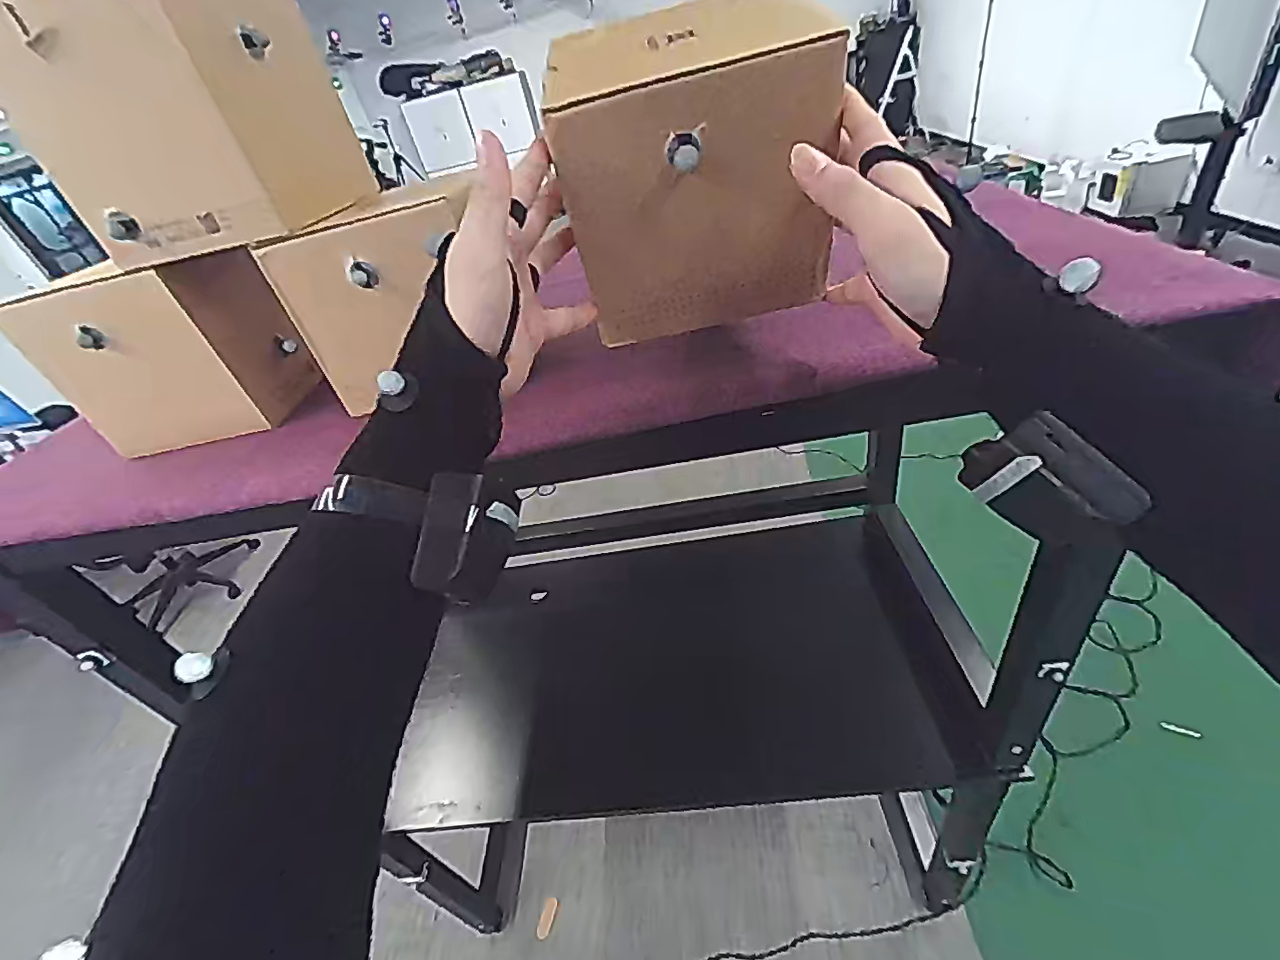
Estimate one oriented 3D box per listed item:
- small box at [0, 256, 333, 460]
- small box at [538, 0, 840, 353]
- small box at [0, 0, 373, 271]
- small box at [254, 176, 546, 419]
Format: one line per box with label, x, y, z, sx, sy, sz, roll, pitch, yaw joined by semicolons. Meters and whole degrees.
small box;-0.474;-0.140;0.580;0.179;0.176;0.168;-11;38;7
small box;0.037;-0.225;0.415;0.179;0.176;0.168;-12;49;7
small box;-0.369;-0.292;0.466;0.168;0.176;0.179;-8;37;9
small box;-0.212;-0.177;0.535;0.179;0.176;0.168;-9;37;8
